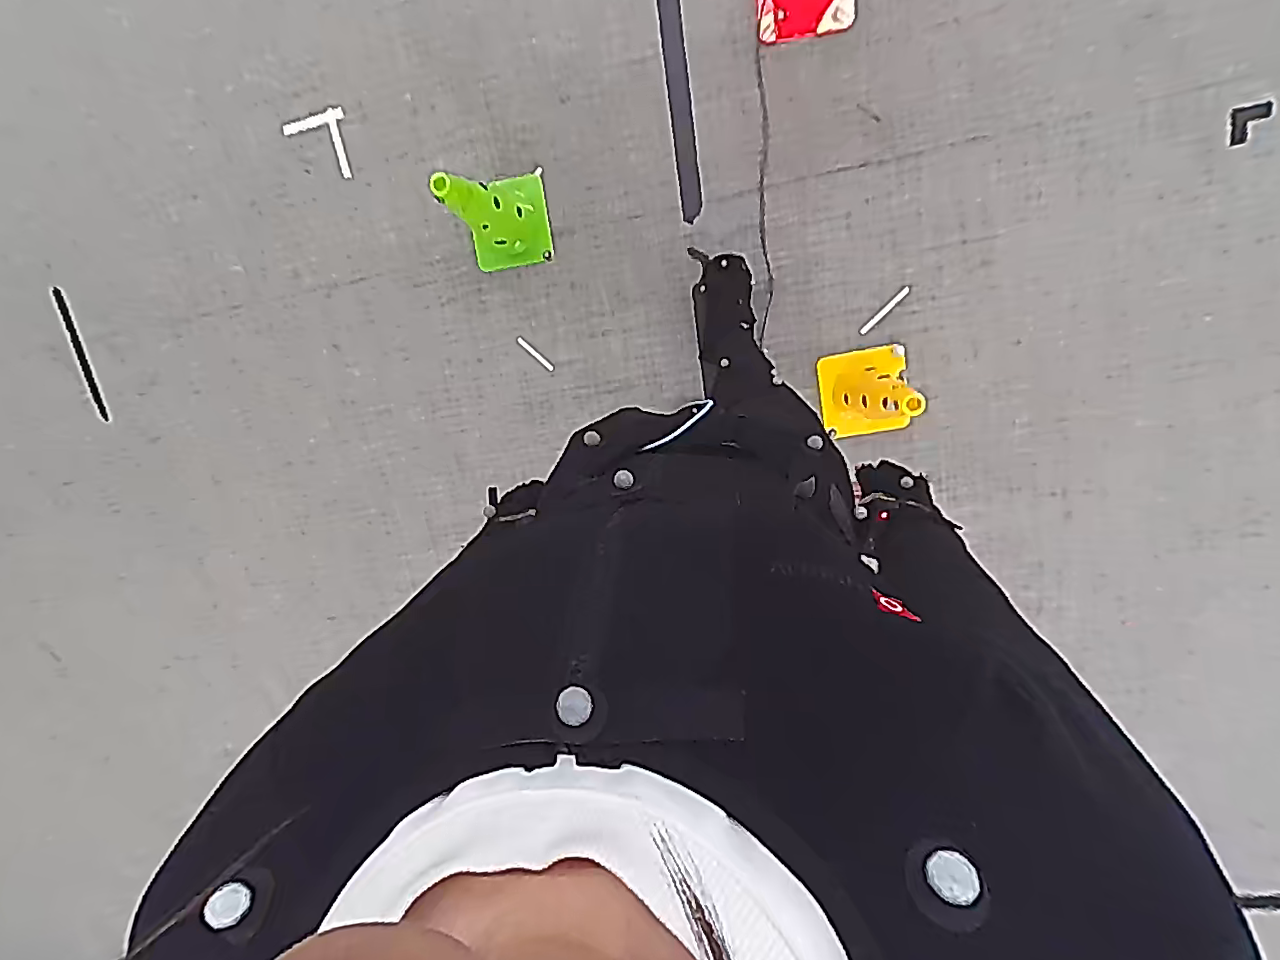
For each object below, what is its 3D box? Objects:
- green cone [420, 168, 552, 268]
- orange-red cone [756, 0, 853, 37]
[{"bbox_3d":[-0.352,-0.600,1.164,0.202,0.368,0.200,-6,102,11],"label":"green cone"},{"bbox_3d":[0.323,-1.011,0.969,0.199,0.360,0.198,-2,104,8],"label":"orange-red cone"}]
